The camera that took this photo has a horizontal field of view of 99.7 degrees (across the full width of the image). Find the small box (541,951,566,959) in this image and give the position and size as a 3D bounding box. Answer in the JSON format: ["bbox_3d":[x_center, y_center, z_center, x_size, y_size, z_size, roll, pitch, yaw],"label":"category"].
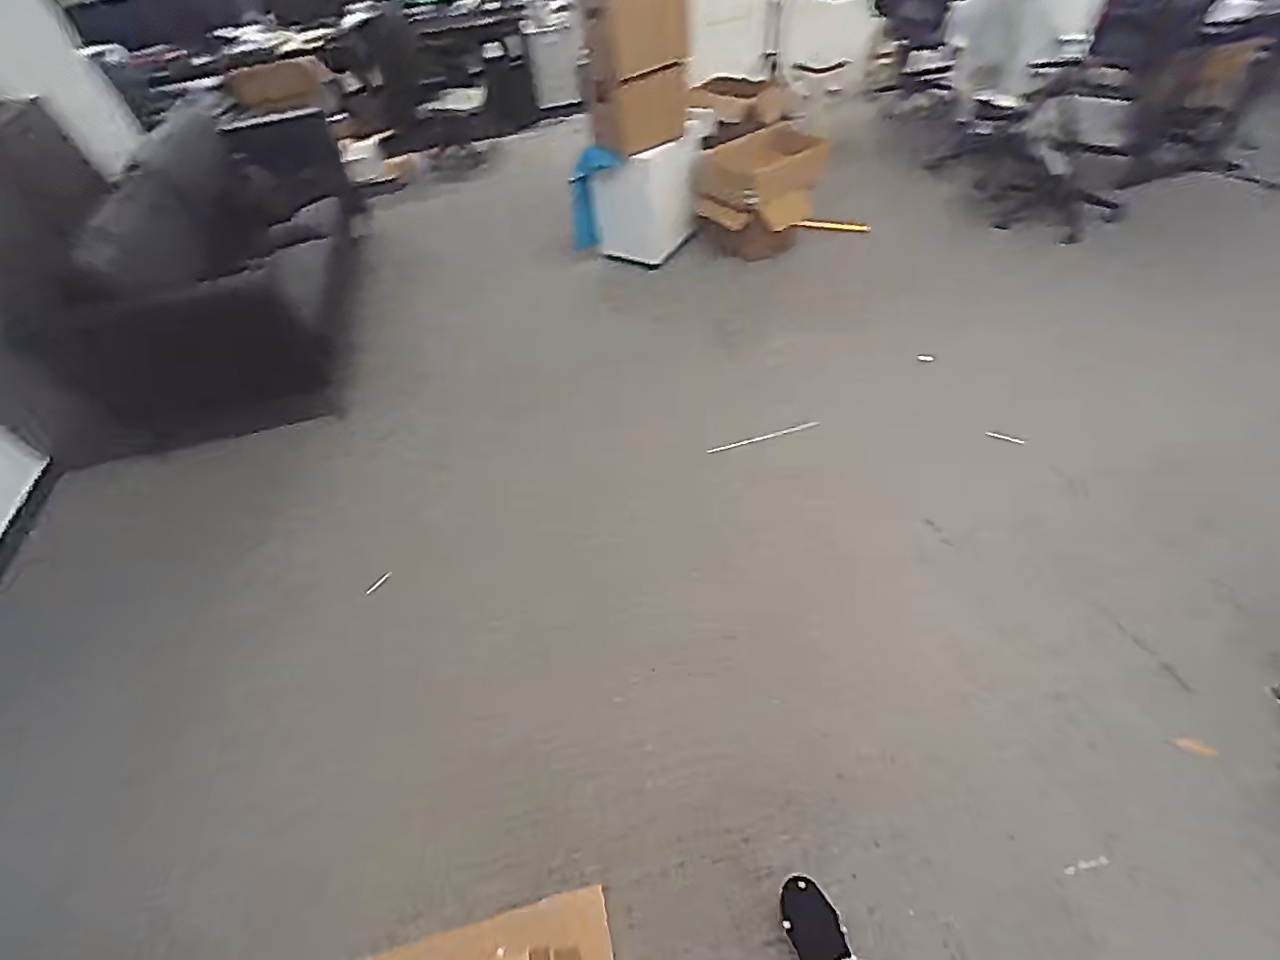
[{"bbox_3d":[-0.211,0.993,0.984,0.168,0.176,0.179,-13,51,-6],"label":"small box"}]

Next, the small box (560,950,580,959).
[{"bbox_3d":[-0.204,1.098,1.107,0.168,0.176,0.179,-13,50,-5],"label":"small box"}]

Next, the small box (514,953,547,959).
[{"bbox_3d":[-0.230,0.888,0.859,0.168,0.176,0.179,-13,50,-6],"label":"small box"}]
